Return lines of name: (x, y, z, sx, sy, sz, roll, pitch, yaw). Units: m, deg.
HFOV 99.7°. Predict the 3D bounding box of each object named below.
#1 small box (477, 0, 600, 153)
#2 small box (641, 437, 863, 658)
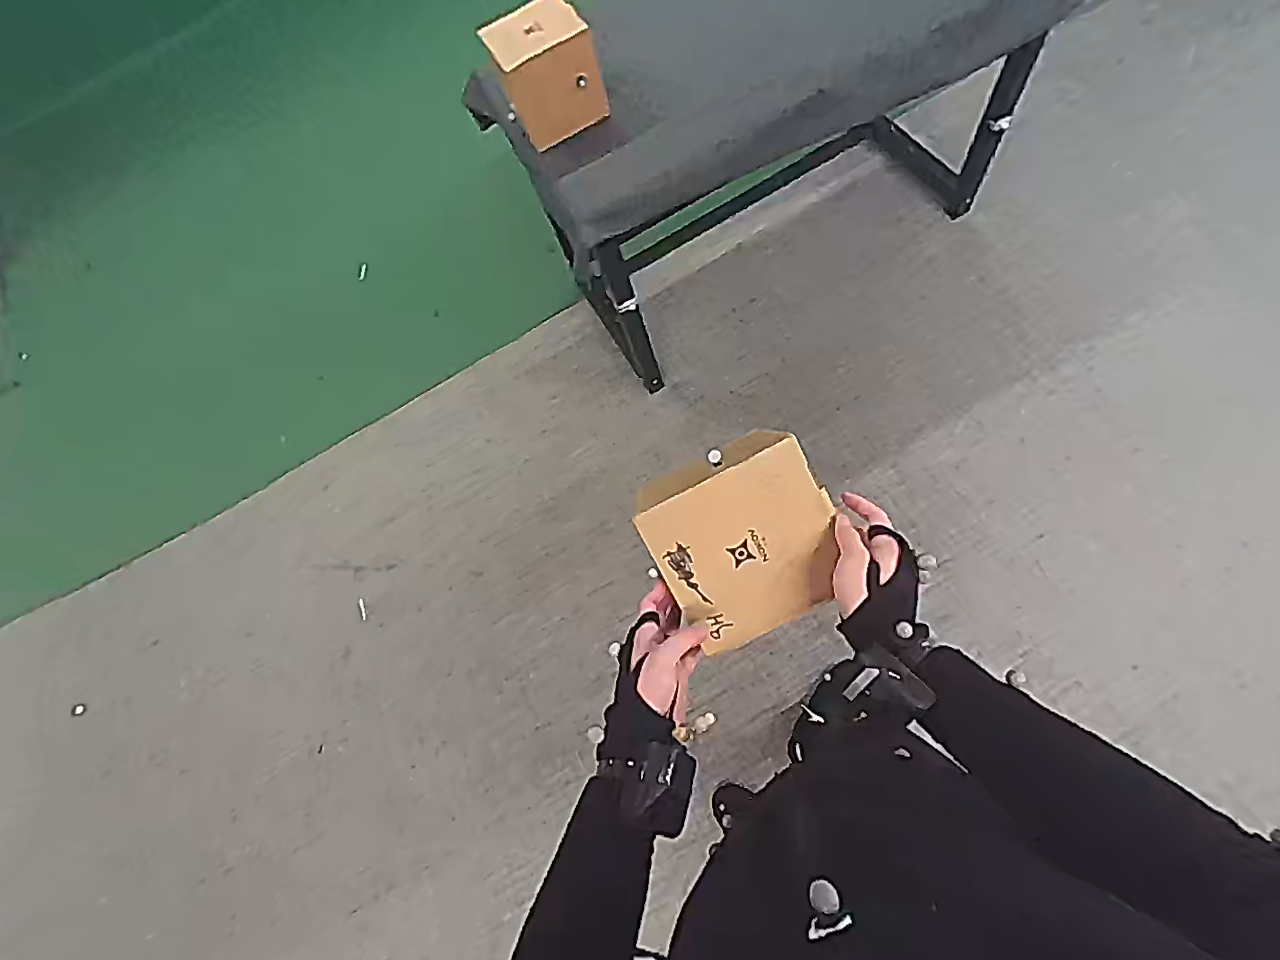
small box: (-0.194, -0.811, 1.092, 0.179, 0.176, 0.168, -27, 64, 0)
small box: (0.110, 0.060, 0.610, 0.179, 0.176, 0.168, -26, 98, 3)
